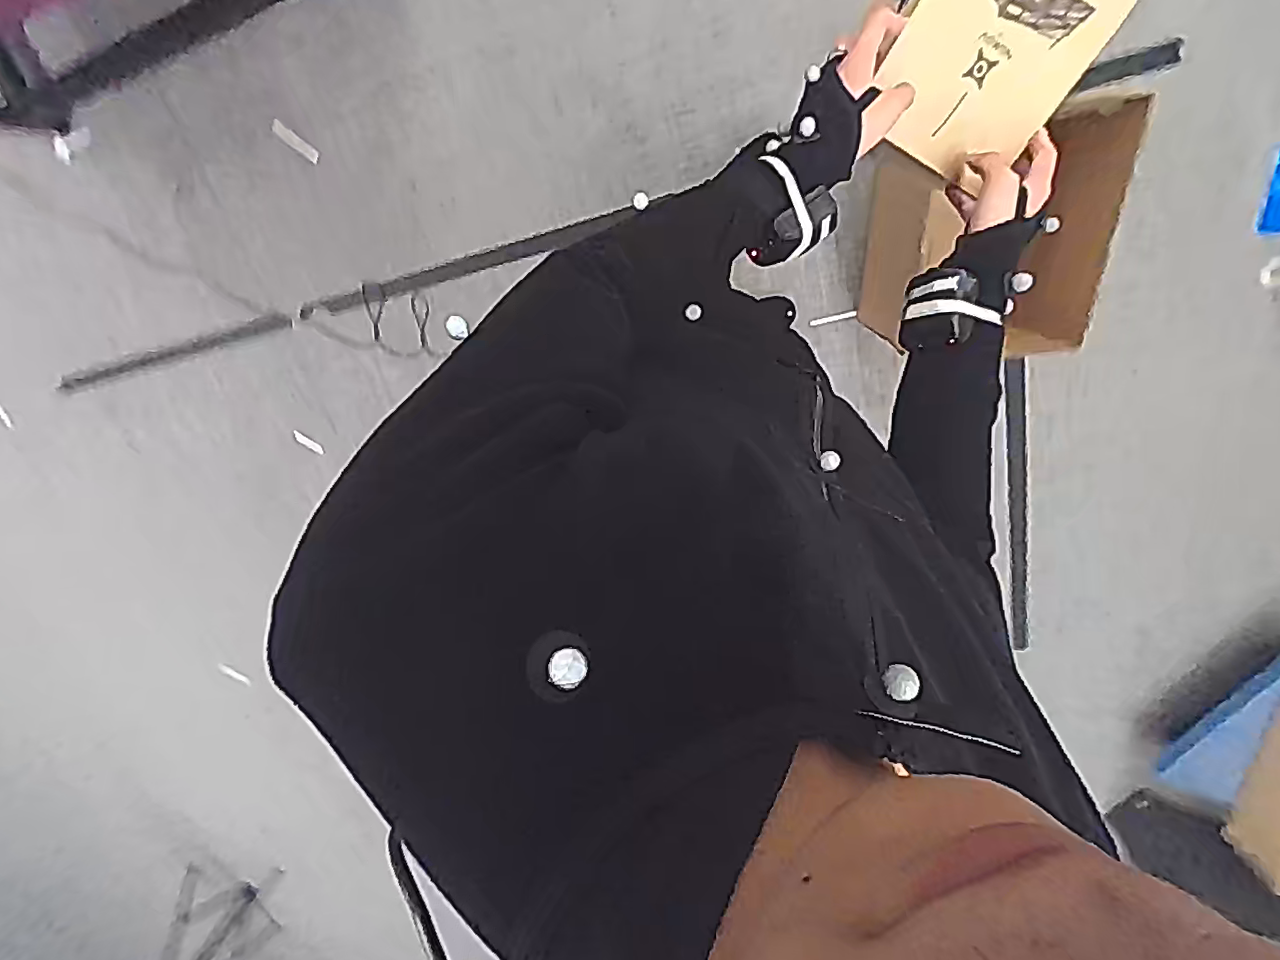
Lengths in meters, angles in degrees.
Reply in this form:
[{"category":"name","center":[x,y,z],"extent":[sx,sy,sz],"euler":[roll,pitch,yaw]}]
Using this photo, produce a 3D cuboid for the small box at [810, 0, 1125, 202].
[{"category":"small box","center":[0.296,-0.412,0.537],"extent":[0.168,0.176,0.179],"euler":[22,122,-14]}]
